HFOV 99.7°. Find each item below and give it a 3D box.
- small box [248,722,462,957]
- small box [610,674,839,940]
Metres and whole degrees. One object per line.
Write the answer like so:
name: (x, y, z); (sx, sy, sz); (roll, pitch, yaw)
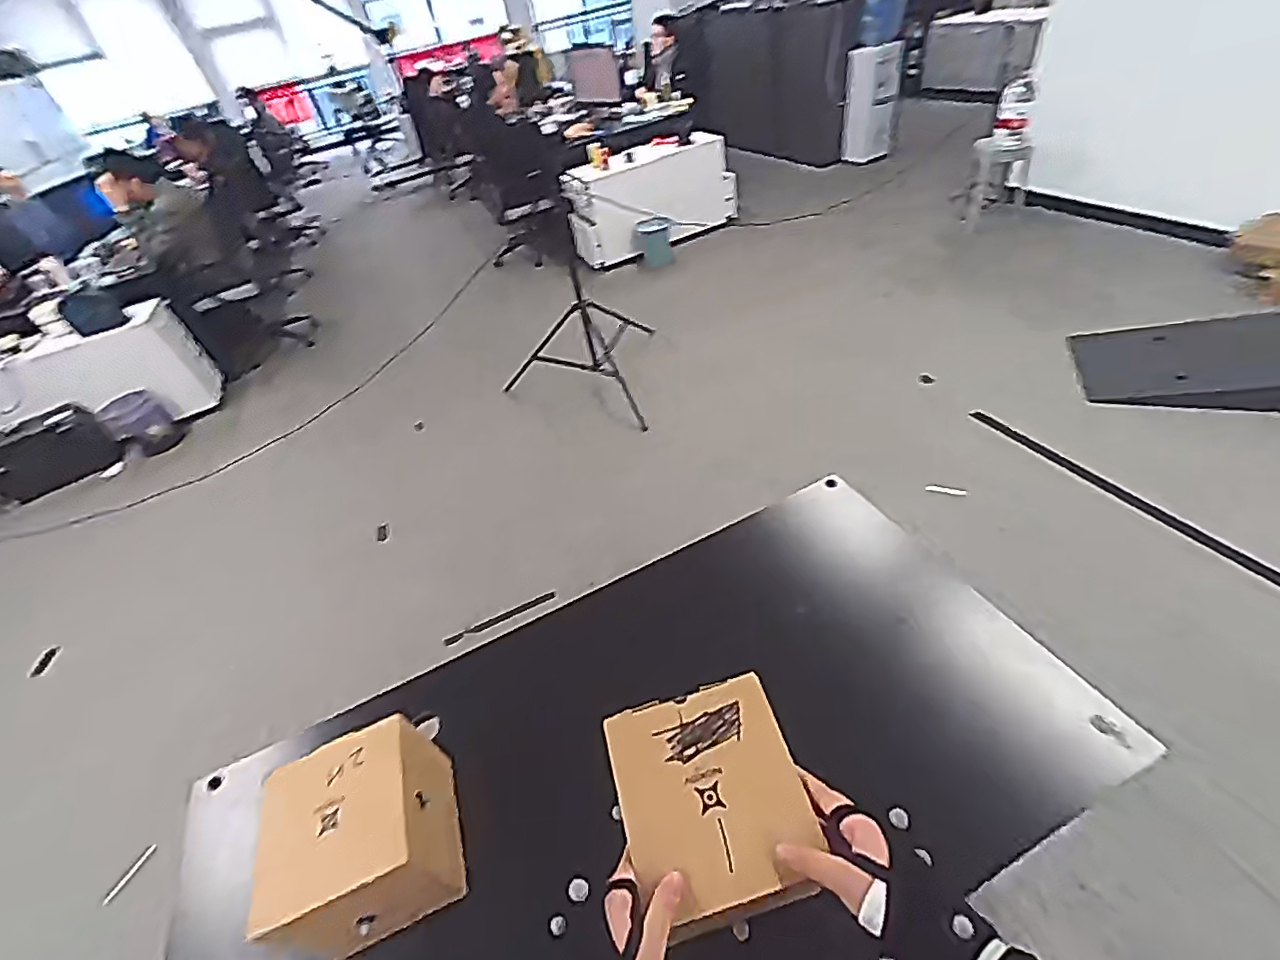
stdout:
small box: (-0.334, 0.442, 0.663); (0.168, 0.176, 0.179); (-22, 42, -10)
small box: (0.076, 0.333, 0.551); (0.168, 0.176, 0.179); (-16, 47, -4)
